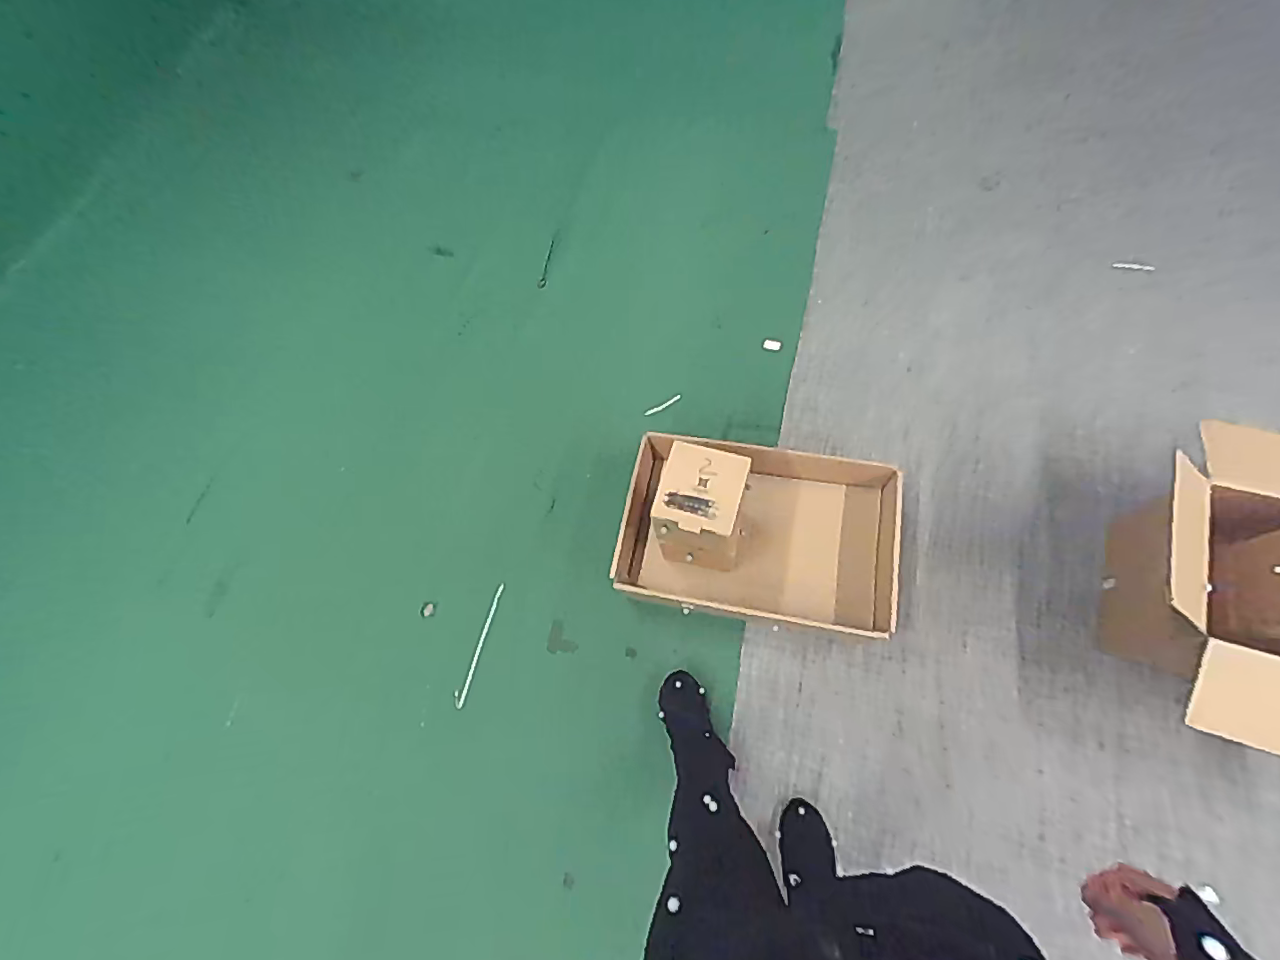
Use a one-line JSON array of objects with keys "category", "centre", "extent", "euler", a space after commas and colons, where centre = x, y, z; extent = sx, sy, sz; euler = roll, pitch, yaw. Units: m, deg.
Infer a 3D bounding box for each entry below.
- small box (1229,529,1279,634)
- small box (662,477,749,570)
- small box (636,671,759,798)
[{"category": "small box", "centre": [1.229, 0.184, 0.972], "extent": [0.168, 0.176, 0.179], "euler": [8, 70, 14]}, {"category": "small box", "centre": [0.160, 0.110, 1.309], "extent": [0.179, 0.176, 0.168], "euler": [10, 69, 11]}, {"category": "small box", "centre": [0.130, 0.540, 1.165], "extent": [0.176, 0.168, 0.179], "euler": [43, 59, -11]}]
